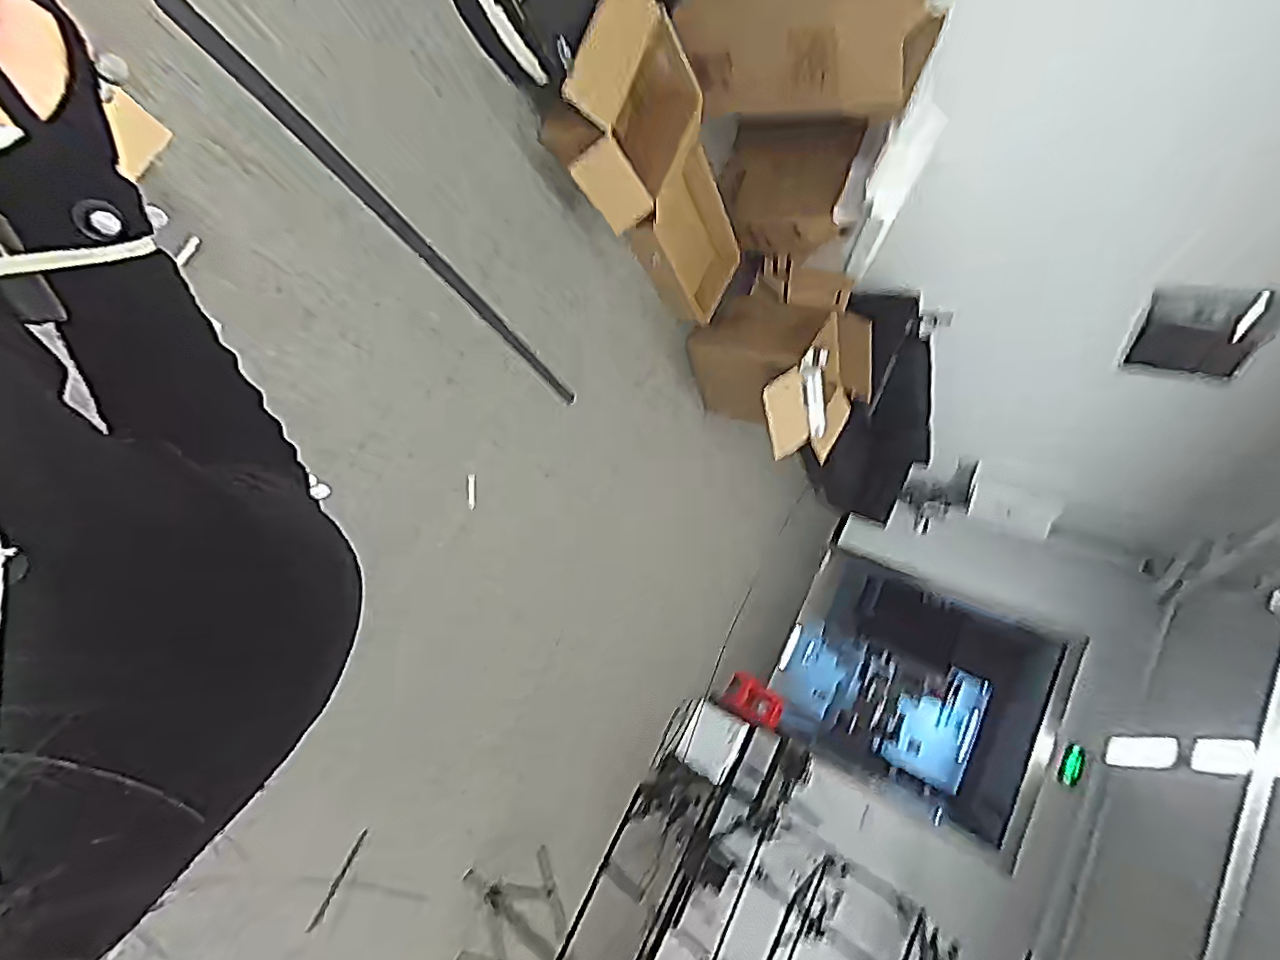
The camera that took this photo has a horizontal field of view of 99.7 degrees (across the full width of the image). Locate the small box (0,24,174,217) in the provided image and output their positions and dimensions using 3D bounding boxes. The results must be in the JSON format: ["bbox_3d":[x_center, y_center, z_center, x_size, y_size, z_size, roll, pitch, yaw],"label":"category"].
[{"bbox_3d":[-0.862,-0.525,0.804,0.179,0.176,0.168,-60,146,-12],"label":"small box"}]
